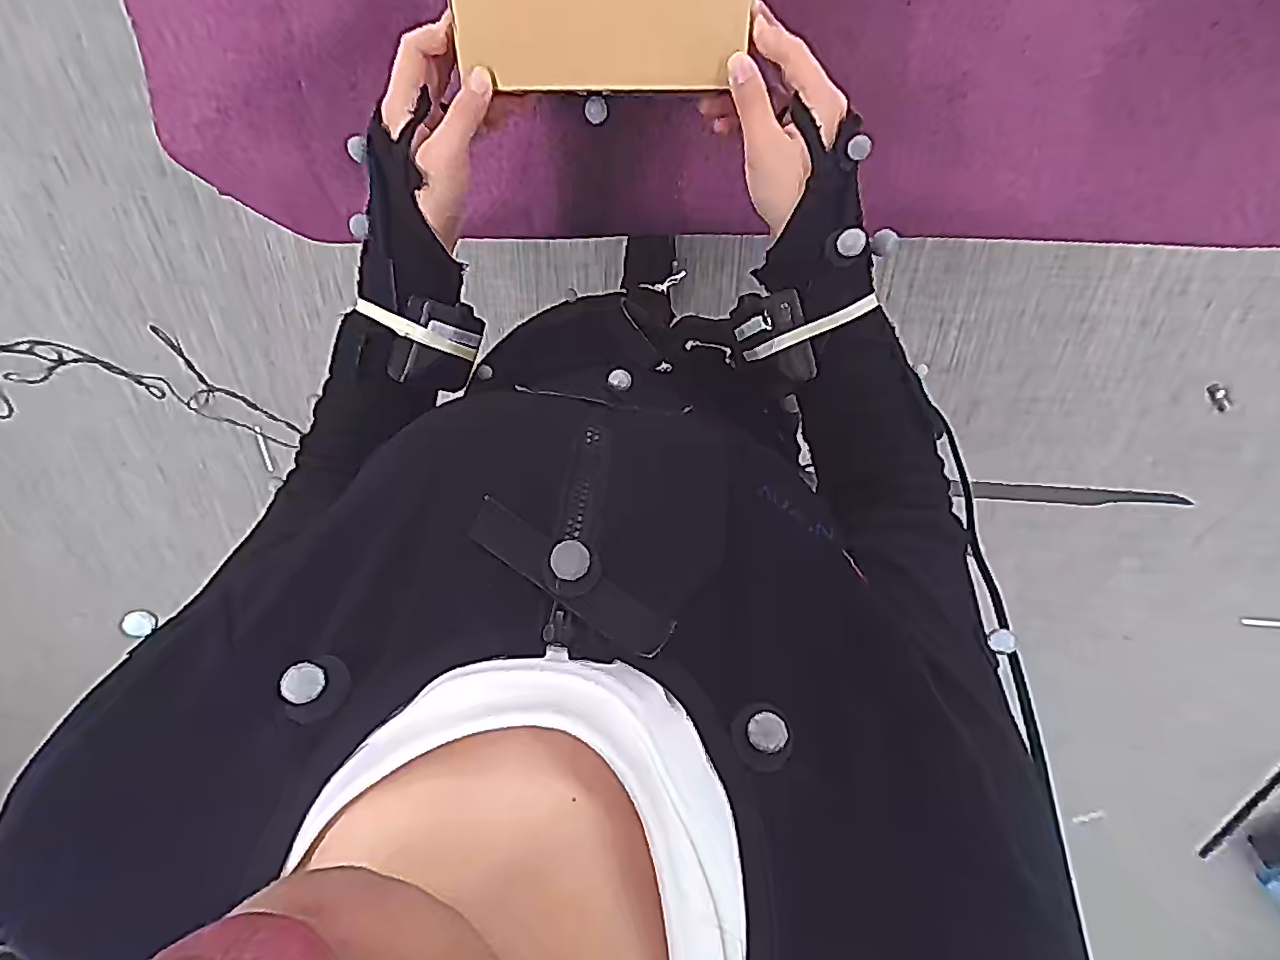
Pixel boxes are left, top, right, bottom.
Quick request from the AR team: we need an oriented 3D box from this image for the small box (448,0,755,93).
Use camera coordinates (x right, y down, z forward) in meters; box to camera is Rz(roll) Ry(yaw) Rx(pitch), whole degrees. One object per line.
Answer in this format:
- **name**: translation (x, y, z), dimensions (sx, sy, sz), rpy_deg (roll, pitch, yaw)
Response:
- **small box**: translation (-0.019, -0.350, 0.343), dimensions (0.179, 0.176, 0.168), rpy_deg (2, 125, 3)
